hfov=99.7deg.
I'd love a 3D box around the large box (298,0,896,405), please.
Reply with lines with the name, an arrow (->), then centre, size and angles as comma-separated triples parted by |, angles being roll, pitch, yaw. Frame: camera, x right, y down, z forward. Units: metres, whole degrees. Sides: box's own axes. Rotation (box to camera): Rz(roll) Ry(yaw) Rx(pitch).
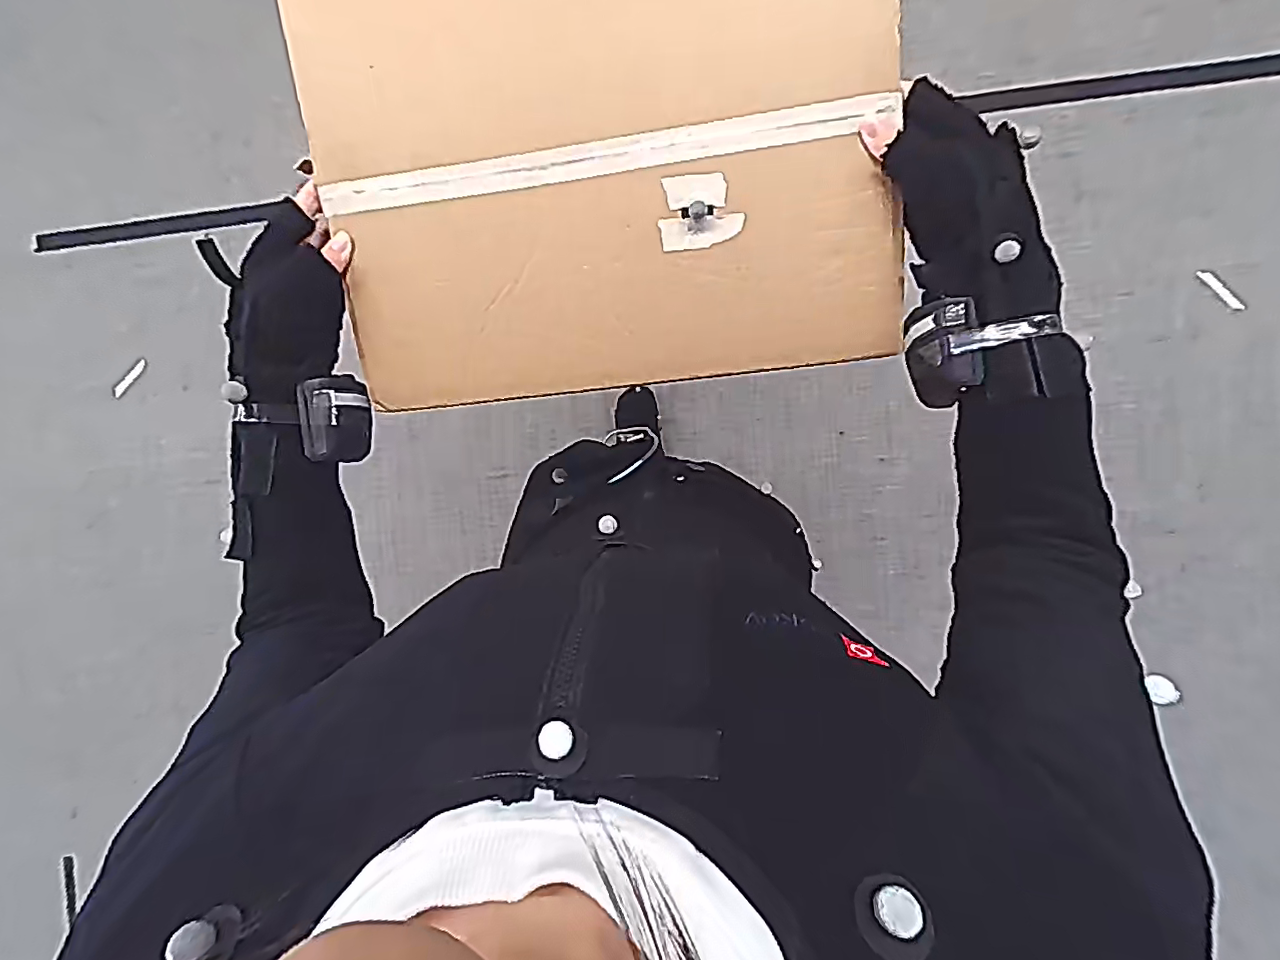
large box -> -0.018, -0.265, 0.532 | 0.408, 0.320, 0.320 | -6, 104, 5
